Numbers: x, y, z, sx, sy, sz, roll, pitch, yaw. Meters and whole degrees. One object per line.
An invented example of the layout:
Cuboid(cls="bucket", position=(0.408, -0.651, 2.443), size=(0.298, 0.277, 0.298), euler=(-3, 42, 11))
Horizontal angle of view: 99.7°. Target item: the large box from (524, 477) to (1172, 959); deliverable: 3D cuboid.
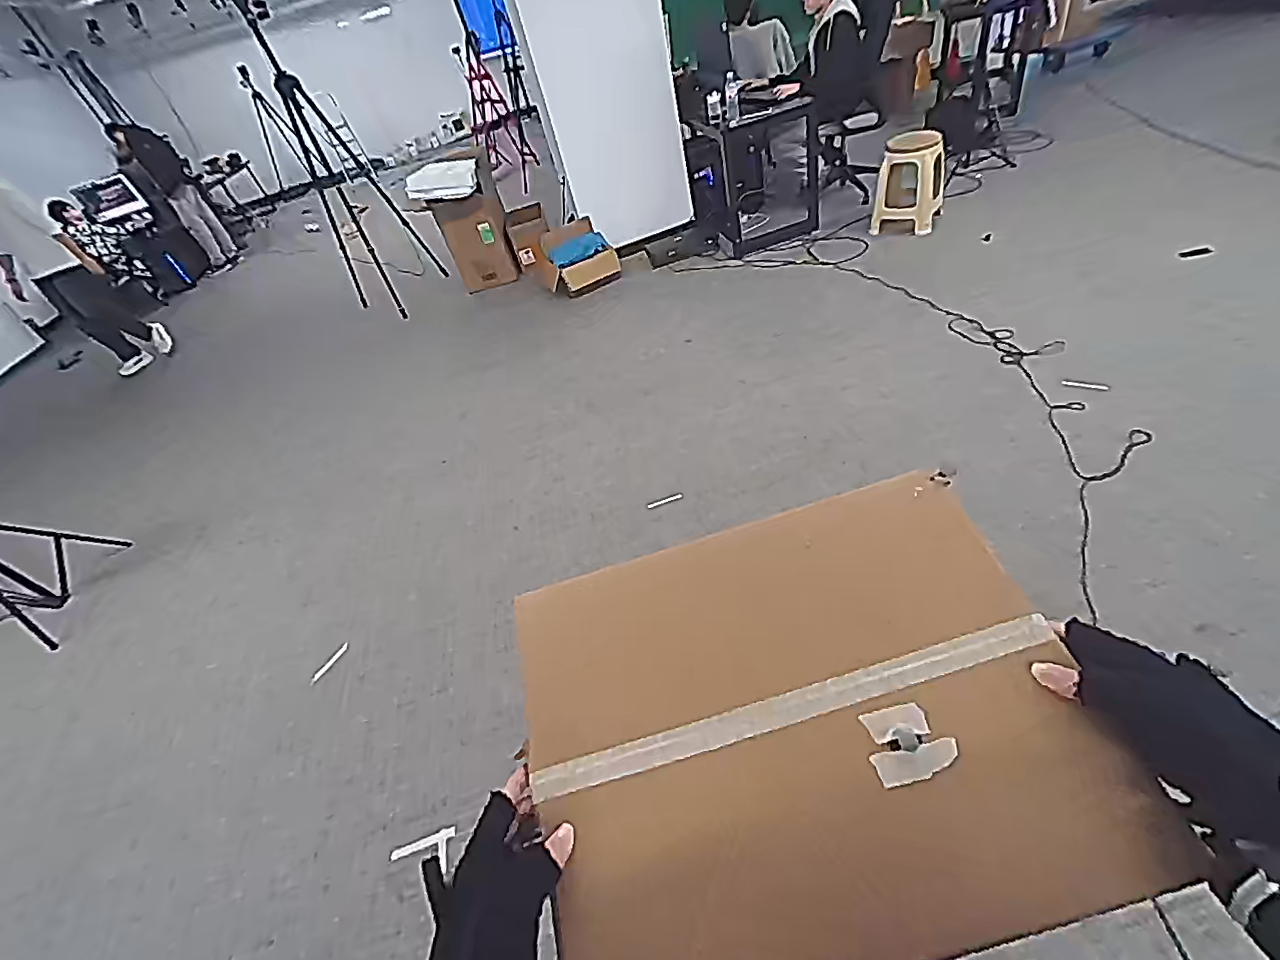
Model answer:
Cuboid(cls="large box", position=(0.141, 0.257, 0.549), size=(0.408, 0.320, 0.320), euler=(-18, 57, 1))
